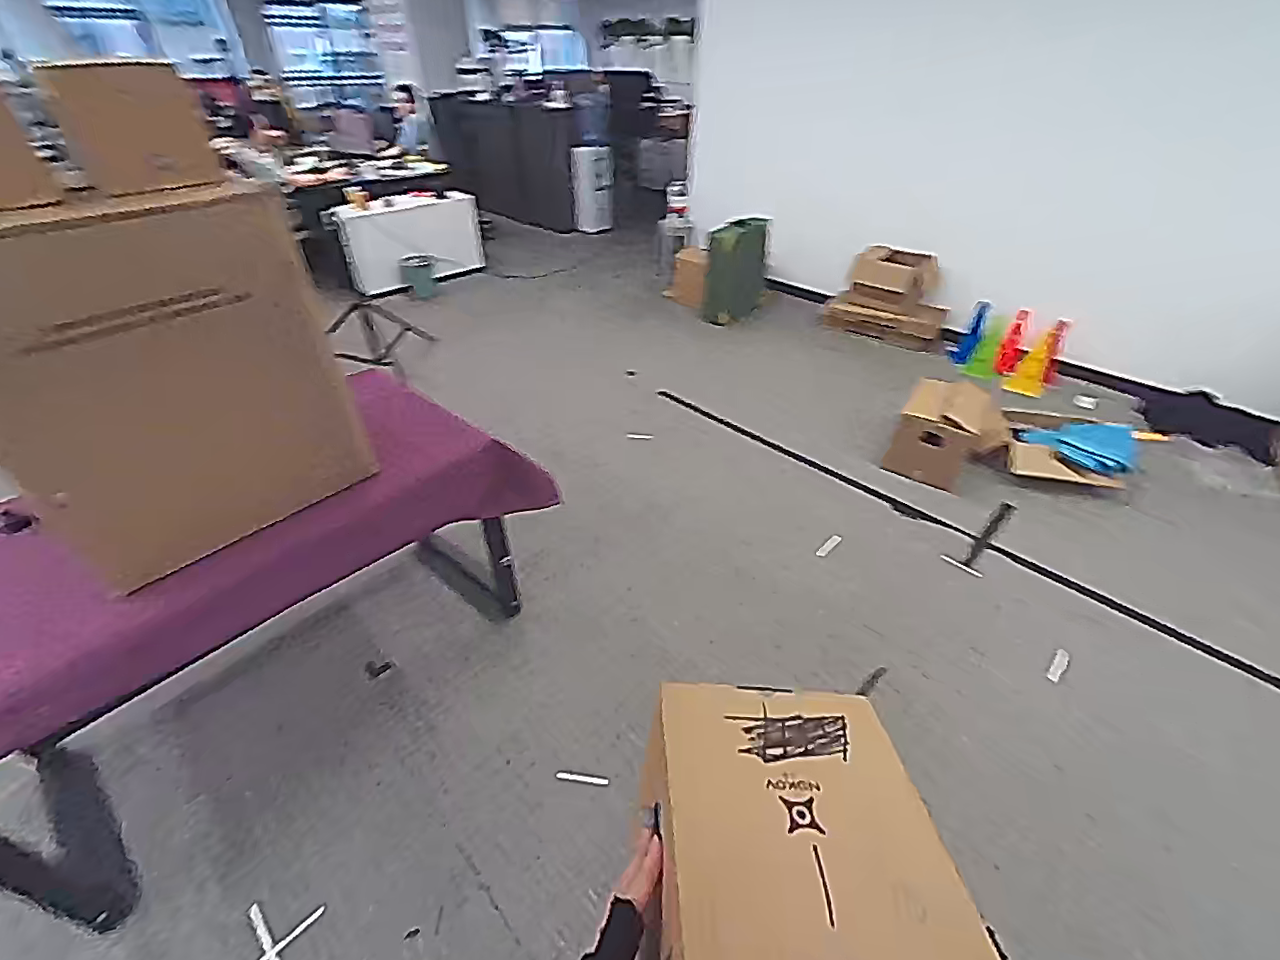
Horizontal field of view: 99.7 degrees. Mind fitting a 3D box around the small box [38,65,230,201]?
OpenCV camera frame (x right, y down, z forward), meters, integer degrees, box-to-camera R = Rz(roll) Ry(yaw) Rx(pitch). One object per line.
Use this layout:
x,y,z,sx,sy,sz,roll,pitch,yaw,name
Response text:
-0.830,-0.584,0.907,0.168,0.176,0.179,30,47,31,small box
